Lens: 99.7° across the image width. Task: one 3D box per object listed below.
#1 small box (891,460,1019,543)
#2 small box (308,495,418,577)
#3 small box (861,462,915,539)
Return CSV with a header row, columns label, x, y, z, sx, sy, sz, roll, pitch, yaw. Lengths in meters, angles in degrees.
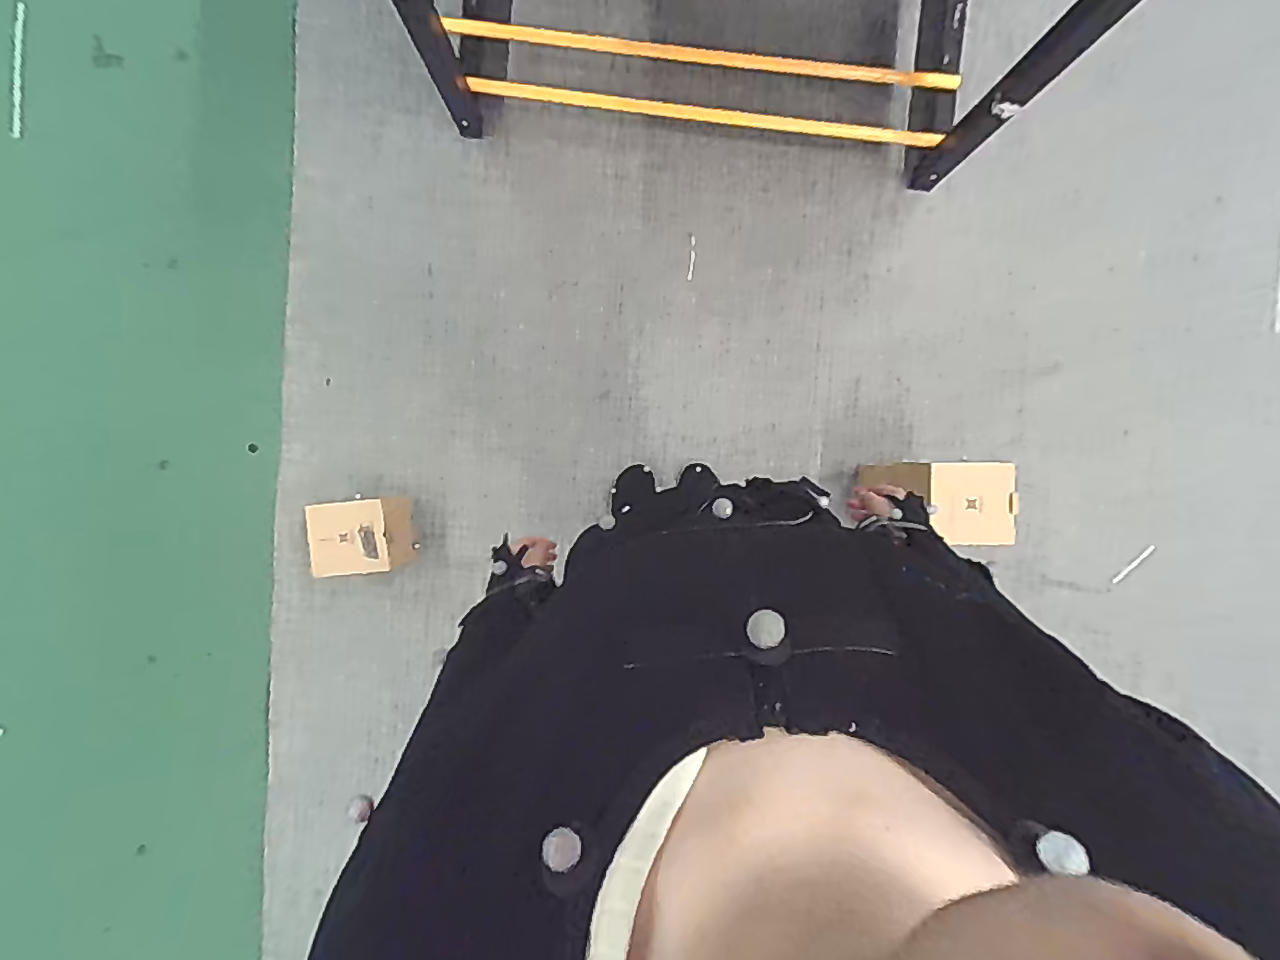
label,x,y,z,sx,sy,sz,roll,pitch,yaw
small box,0.657,0.040,1.140,0.179,0.176,0.168,-1,91,-1
small box,-0.643,0.126,1.280,0.179,0.176,0.168,-5,92,0
small box,0.647,0.046,1.304,0.168,0.176,0.179,-1,91,-1
